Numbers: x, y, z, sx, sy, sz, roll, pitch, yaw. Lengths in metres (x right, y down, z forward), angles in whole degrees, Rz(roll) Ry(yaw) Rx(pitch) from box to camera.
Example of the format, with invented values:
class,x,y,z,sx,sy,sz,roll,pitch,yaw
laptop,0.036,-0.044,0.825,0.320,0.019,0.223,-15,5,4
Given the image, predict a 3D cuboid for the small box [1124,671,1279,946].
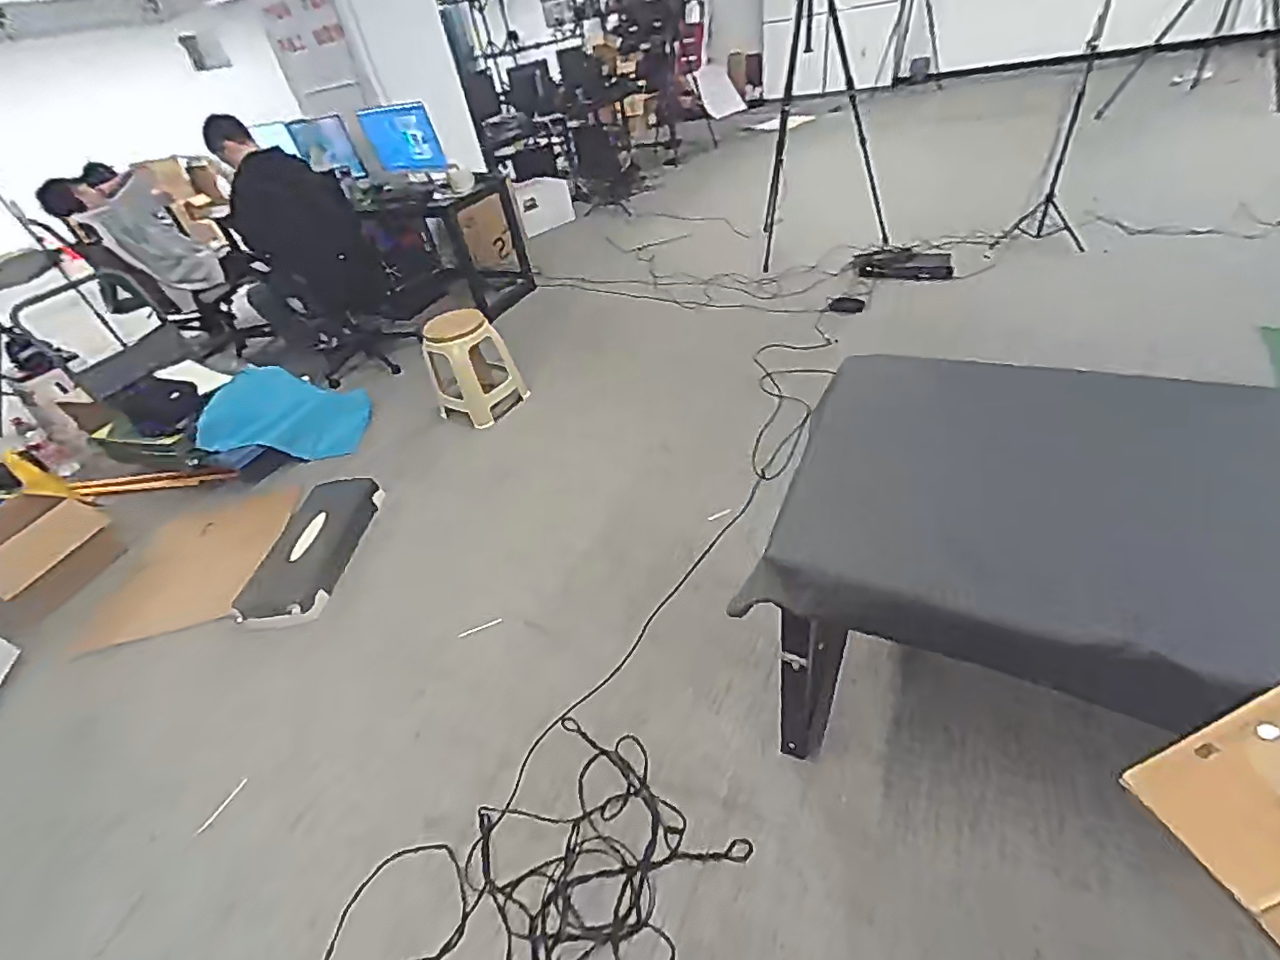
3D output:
class,x,y,z,sx,sy,sz,roll,pitch,yaw
small box,0.483,0.251,0.343,0.168,0.176,0.179,-43,73,14
